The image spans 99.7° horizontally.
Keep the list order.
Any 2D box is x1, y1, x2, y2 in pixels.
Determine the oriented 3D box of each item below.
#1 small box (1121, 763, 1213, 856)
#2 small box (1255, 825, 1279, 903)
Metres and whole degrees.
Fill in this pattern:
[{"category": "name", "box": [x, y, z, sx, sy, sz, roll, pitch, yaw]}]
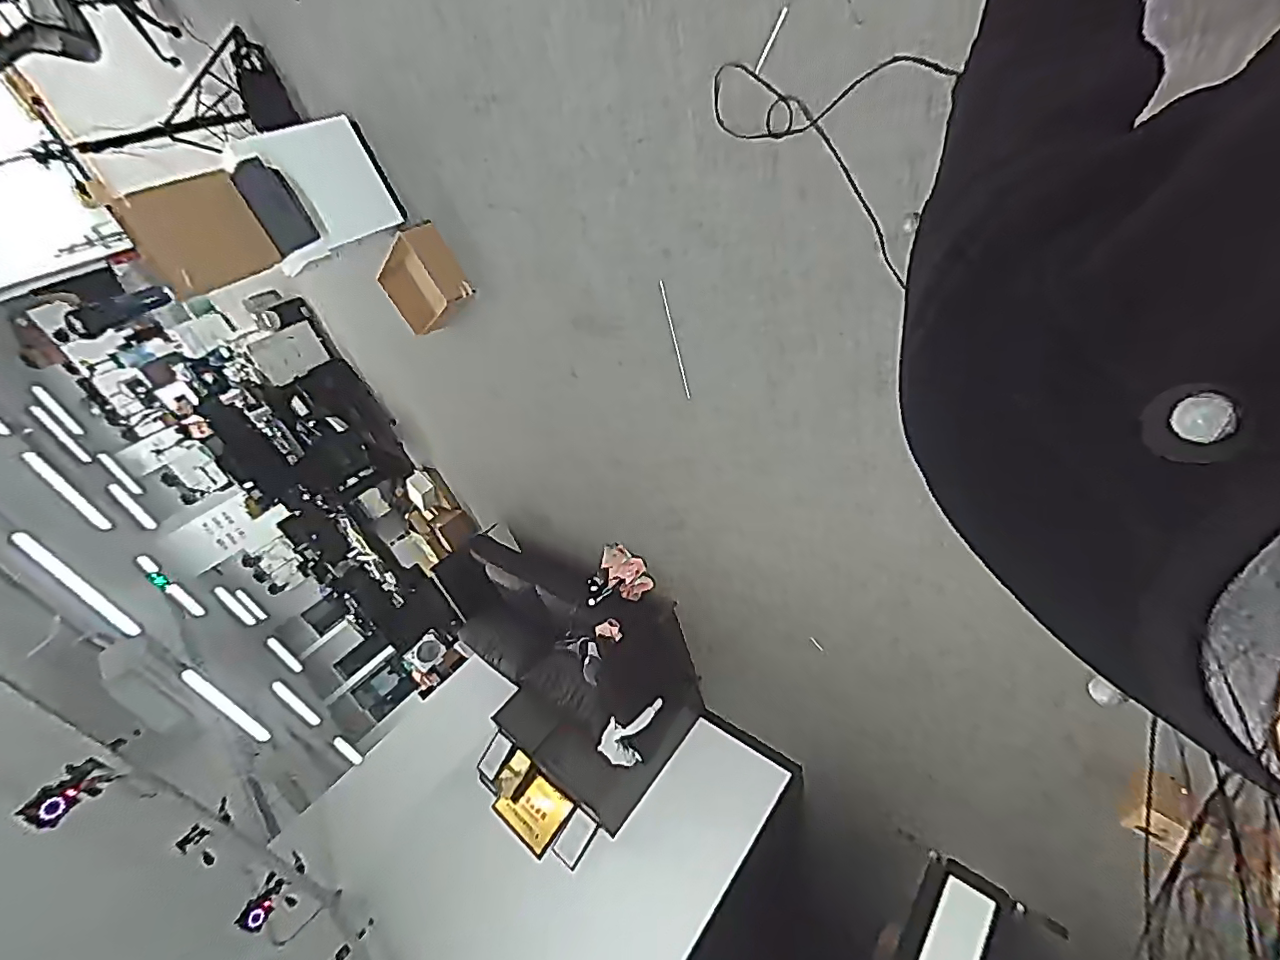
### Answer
[{"category": "small box", "box": [1.727, 1.074, 1.769, 0.168, 0.176, 0.179, 24, 140, 34]}, {"category": "small box", "box": [1.949, 1.146, 1.572, 0.179, 0.176, 0.168, 15, 136, 41]}]
